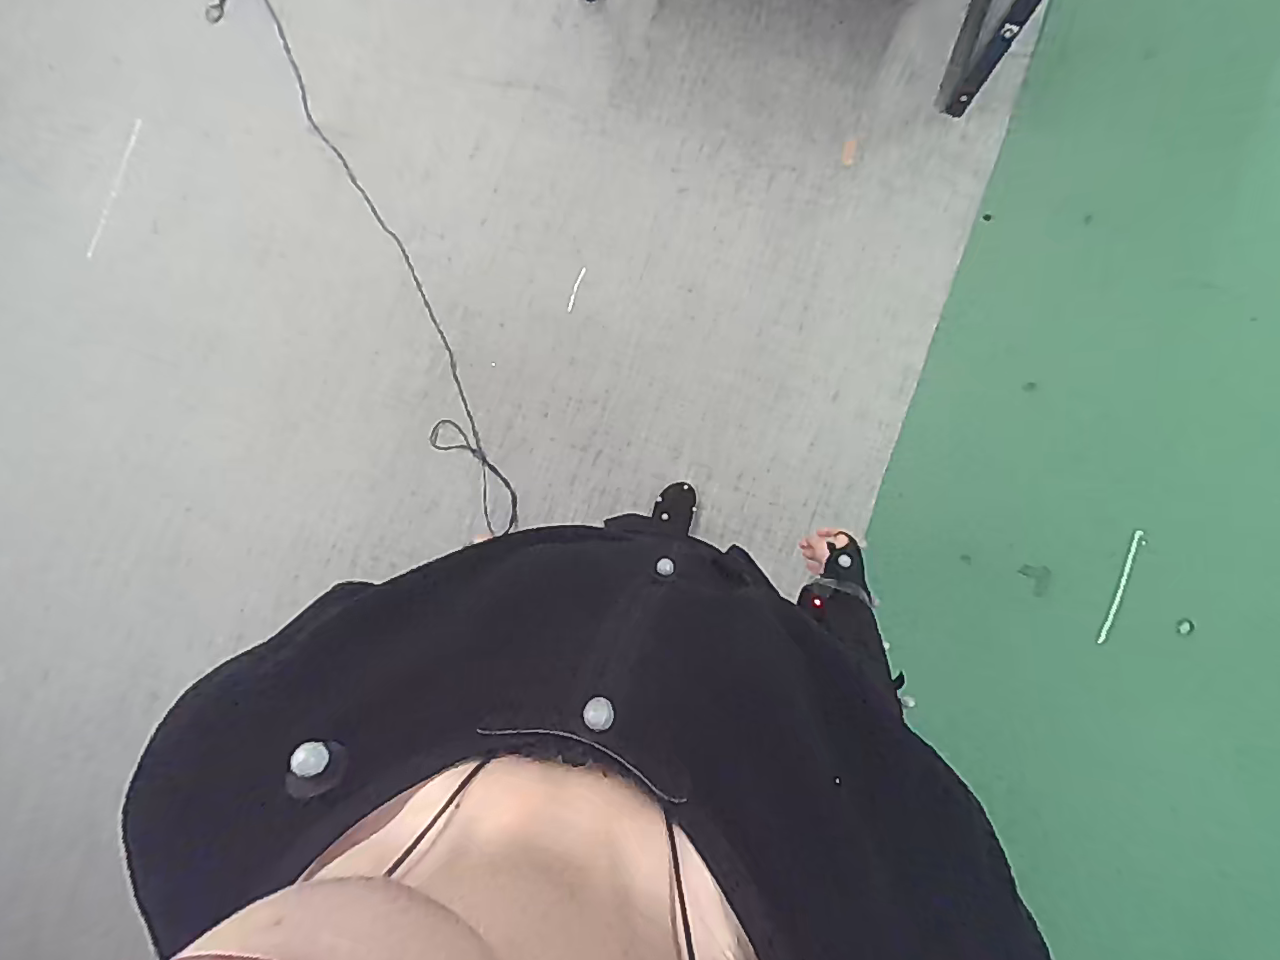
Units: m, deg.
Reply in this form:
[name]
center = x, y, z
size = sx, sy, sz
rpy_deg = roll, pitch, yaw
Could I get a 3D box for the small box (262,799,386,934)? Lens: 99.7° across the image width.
[small box]
center = -0.731, 0.894, 1.272
size = 0.168, 0.176, 0.179
rpy_deg = 17, 88, 5
